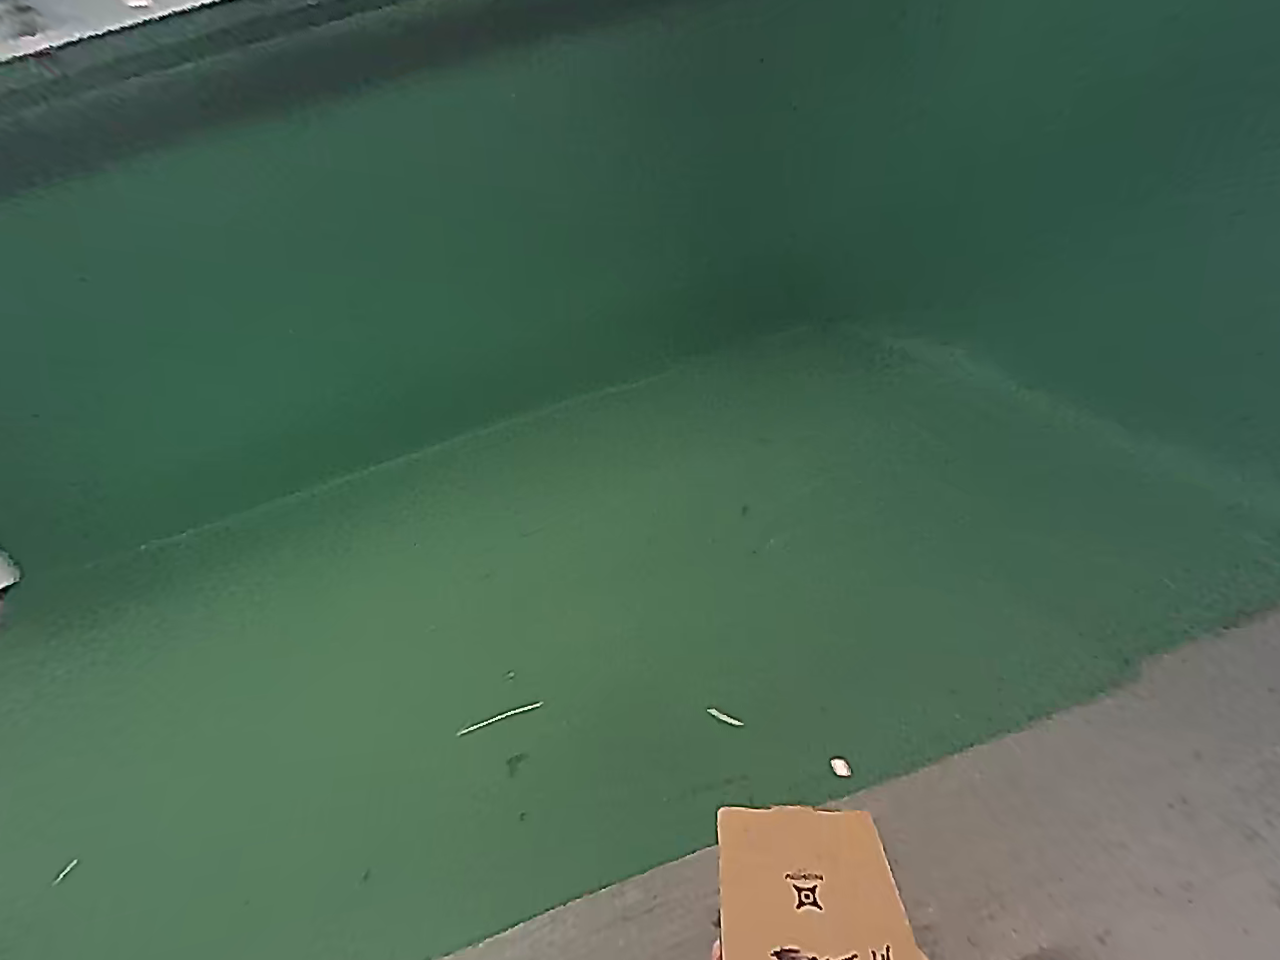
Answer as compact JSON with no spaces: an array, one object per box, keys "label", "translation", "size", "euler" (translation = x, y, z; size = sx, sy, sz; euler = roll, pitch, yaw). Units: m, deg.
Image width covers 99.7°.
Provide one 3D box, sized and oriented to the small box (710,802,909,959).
[{"label":"small box","translation":[0.158,0.464,0.547],"size":[0.168,0.176,0.179],"euler":[-5,16,6]}]
